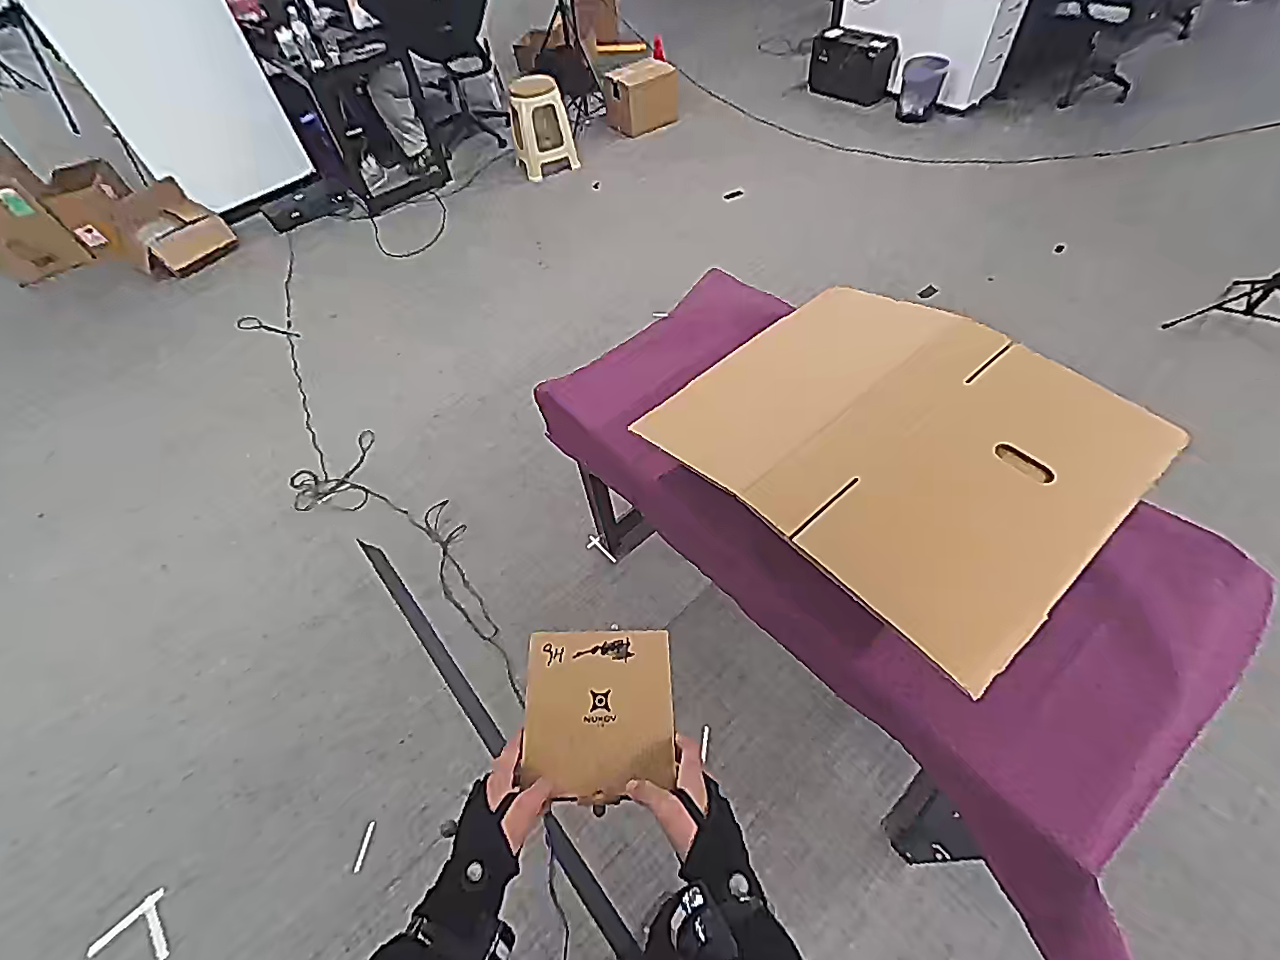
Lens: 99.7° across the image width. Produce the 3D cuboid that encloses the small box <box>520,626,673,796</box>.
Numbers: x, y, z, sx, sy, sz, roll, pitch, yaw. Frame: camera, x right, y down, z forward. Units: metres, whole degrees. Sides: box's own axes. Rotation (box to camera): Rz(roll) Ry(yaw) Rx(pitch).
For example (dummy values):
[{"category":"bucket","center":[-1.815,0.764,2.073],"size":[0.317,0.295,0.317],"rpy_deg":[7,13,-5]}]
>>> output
[{"category":"small box","center":[-0.049,0.290,0.677],"size":[0.168,0.176,0.179],"rpy_deg":[0,61,-3]}]
